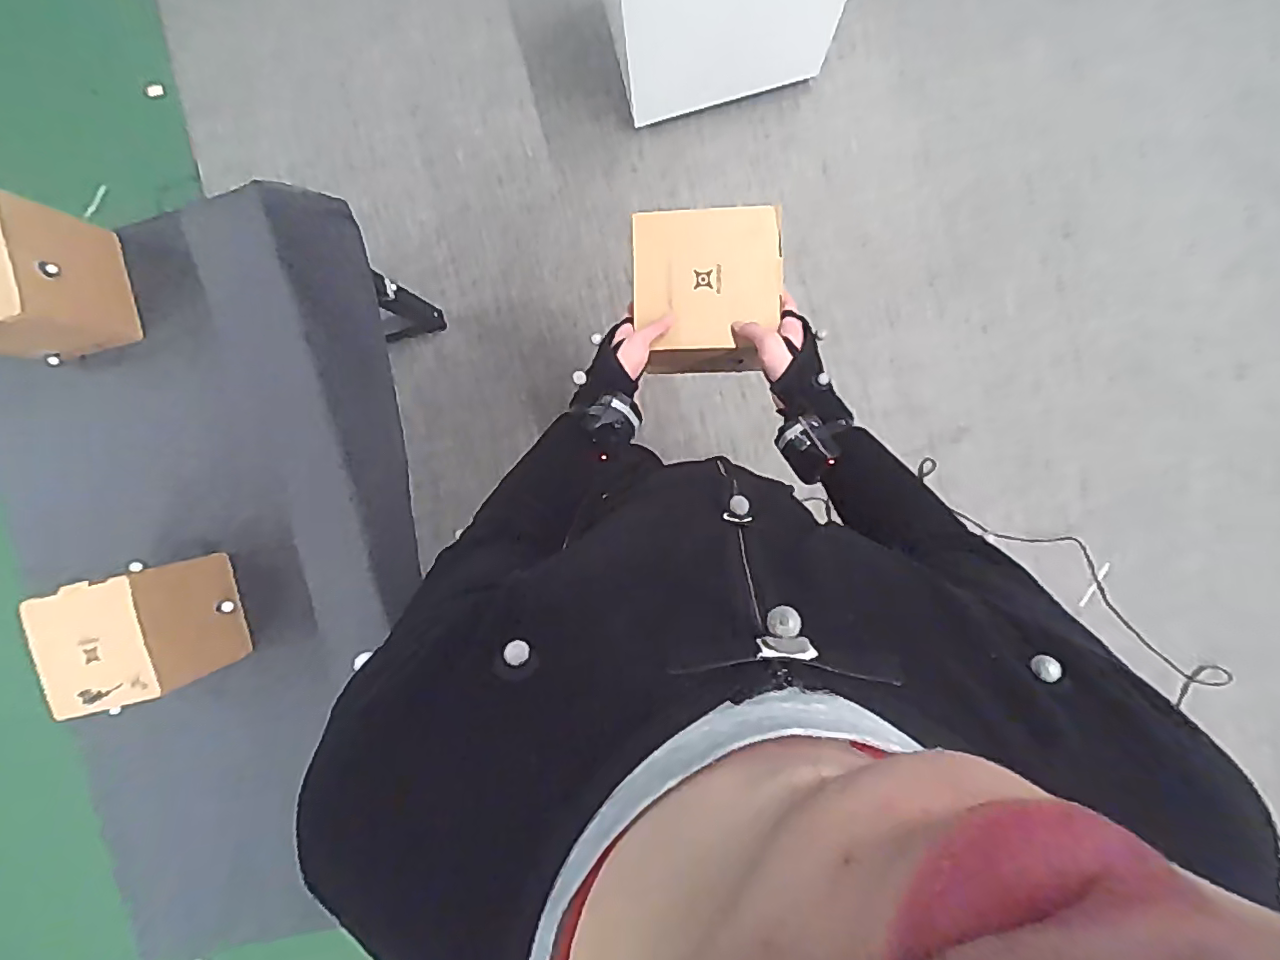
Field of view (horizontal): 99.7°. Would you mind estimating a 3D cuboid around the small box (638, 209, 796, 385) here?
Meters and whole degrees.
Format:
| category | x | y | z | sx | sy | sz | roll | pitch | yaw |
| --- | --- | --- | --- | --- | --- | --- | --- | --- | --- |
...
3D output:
| category | x | y | z | sx | sy | sz | roll | pitch | yaw |
| --- | --- | --- | --- | --- | --- | --- | --- | --- | --- |
| small box | 0.092 | -0.221 | 0.696 | 0.179 | 0.176 | 0.168 | -3 | 89 | 5 |
